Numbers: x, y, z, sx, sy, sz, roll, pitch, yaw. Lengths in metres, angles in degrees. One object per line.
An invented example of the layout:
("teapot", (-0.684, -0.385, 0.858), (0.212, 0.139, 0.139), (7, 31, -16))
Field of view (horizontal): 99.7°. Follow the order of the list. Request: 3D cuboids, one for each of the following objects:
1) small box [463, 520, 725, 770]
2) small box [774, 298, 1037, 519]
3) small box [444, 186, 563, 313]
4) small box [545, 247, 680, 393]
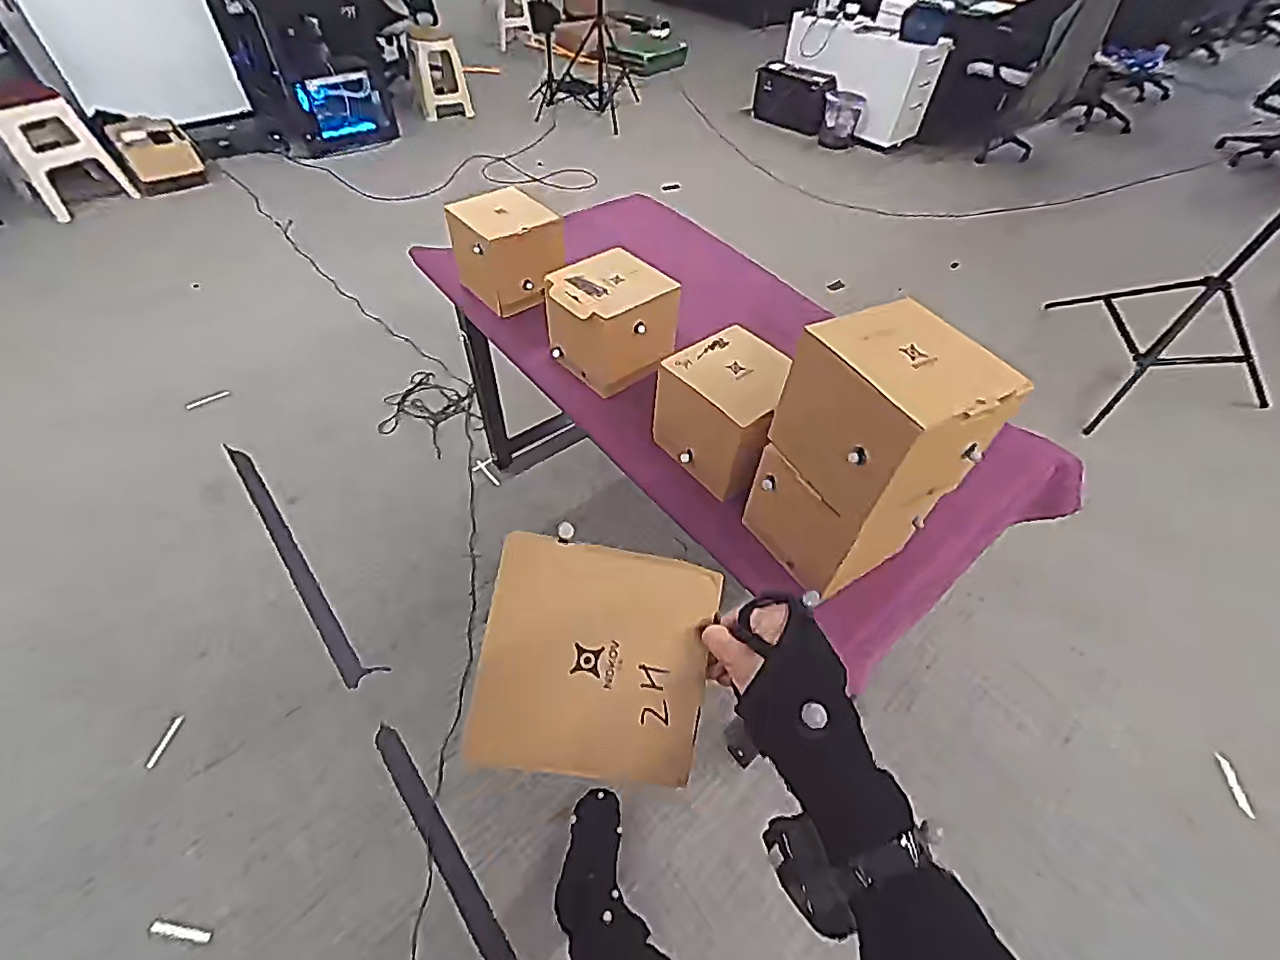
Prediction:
("small box", (-0.043, 0.132, 0.489), (0.179, 0.176, 0.168), (11, 85, -9))
("small box", (0.283, -0.076, 0.620), (0.168, 0.176, 0.179), (-20, 53, -21))
("small box", (-0.276, -0.476, 1.121), (0.168, 0.176, 0.179), (-34, 61, -27))
("small box", (-0.049, -0.288, 0.982), (0.179, 0.176, 0.168), (-34, 61, -28))
